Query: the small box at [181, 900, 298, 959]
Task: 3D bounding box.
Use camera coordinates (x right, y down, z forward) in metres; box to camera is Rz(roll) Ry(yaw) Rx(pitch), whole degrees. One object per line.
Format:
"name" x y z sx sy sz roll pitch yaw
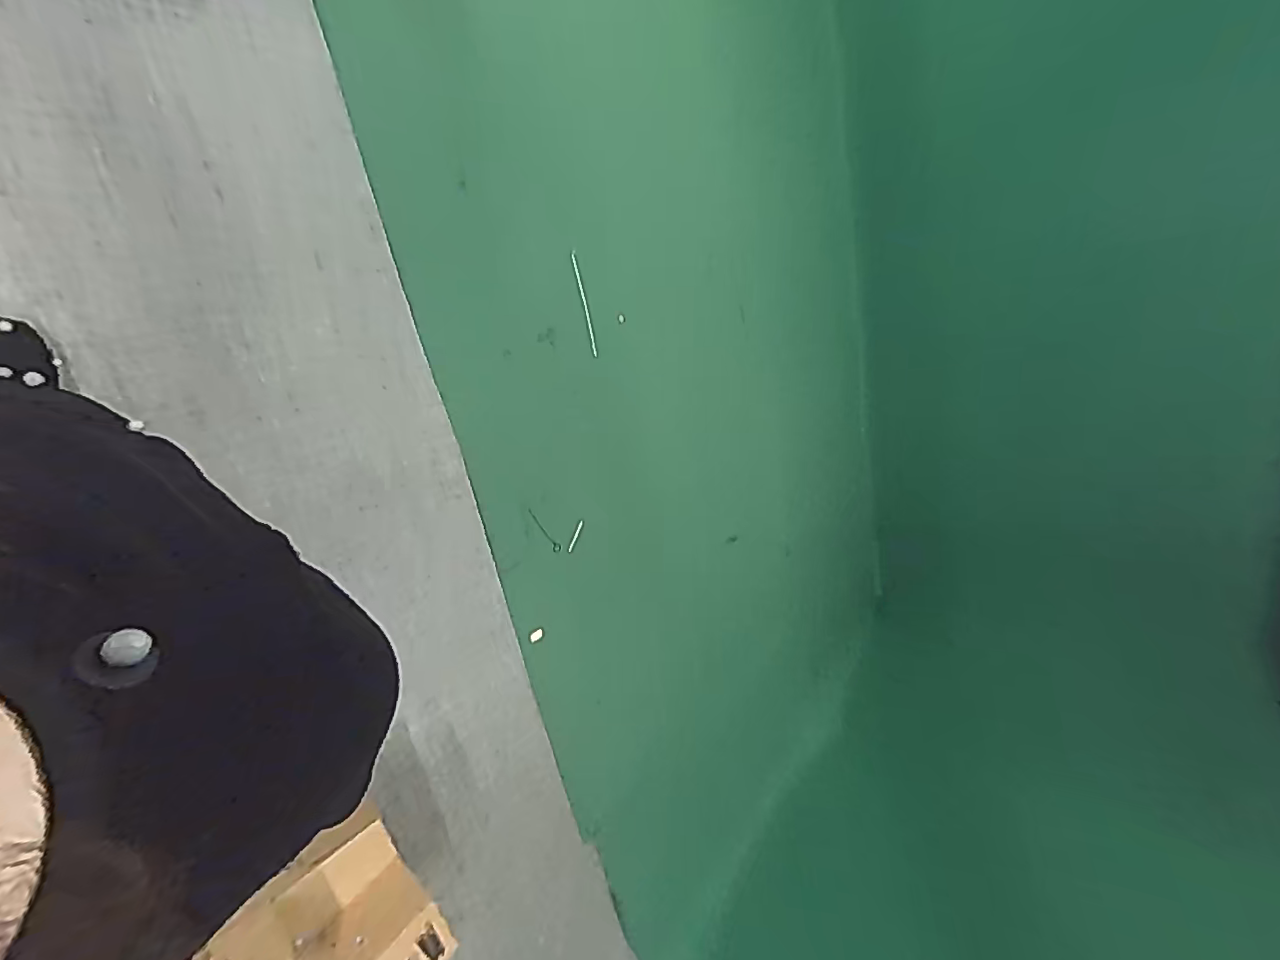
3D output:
"small box" -0.724 0.928 0.973 0.179 0.176 0.168 -27 113 -42
